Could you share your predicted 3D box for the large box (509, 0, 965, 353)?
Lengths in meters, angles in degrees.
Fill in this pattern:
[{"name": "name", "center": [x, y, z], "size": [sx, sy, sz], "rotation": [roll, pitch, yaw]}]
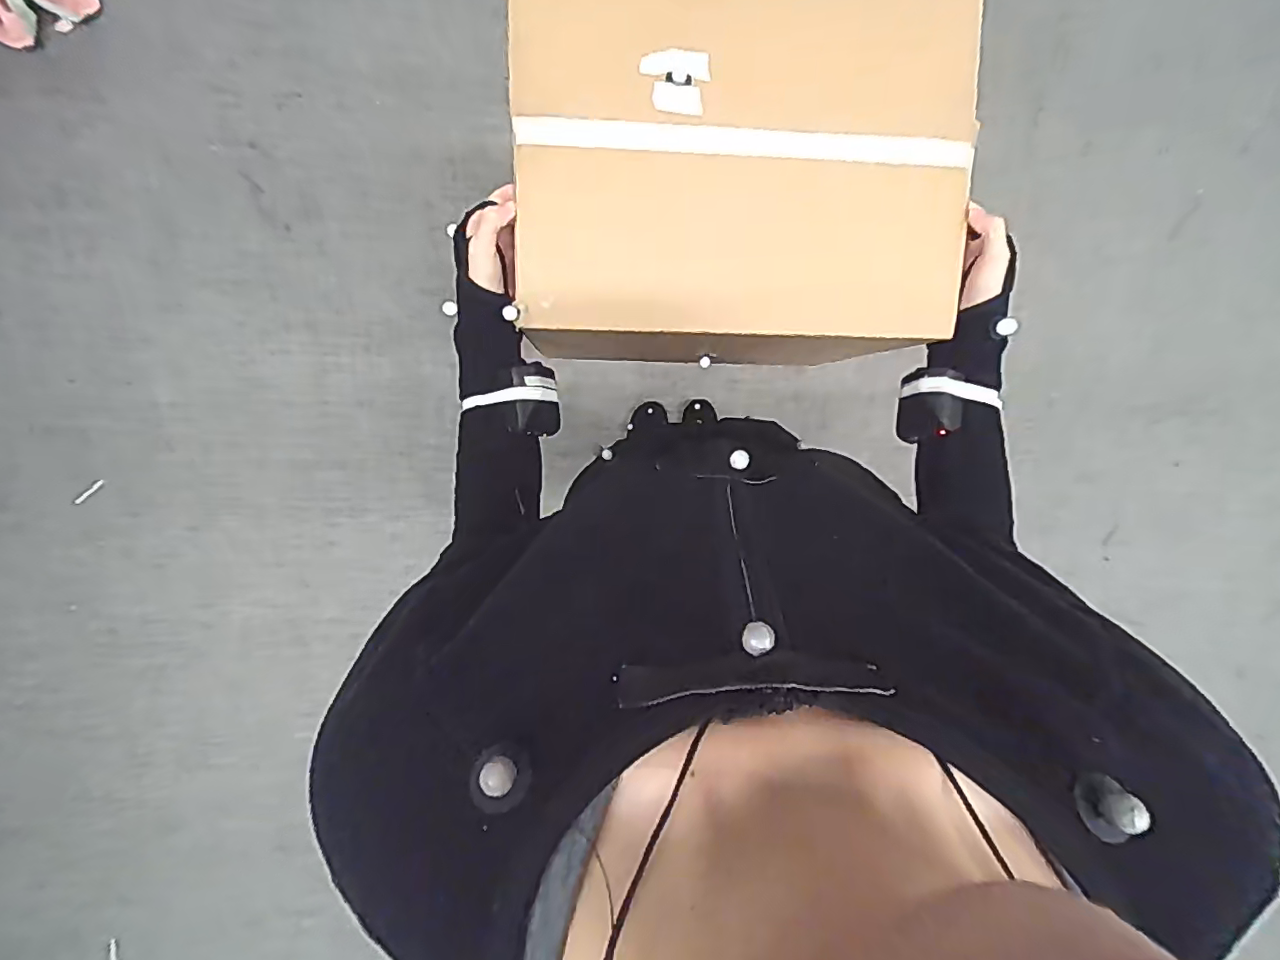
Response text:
[{"name": "large box", "center": [0.078, -0.314, 0.626], "size": [0.408, 0.320, 0.320], "rotation": [0, 98, -5]}]
